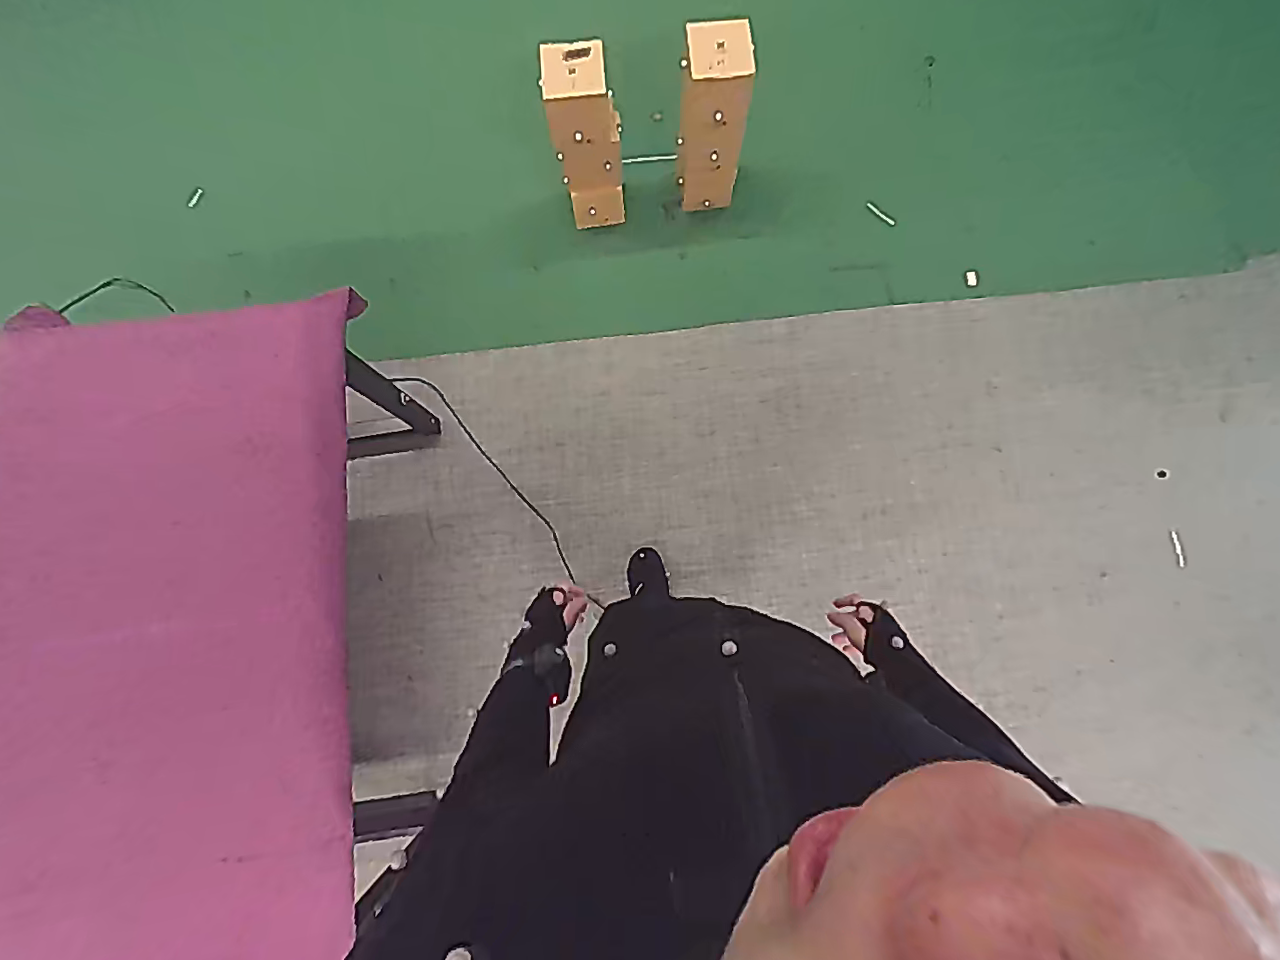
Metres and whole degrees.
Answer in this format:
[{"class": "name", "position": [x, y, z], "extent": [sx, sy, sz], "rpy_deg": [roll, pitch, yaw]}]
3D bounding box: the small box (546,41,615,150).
[{"class": "small box", "position": [-0.159, -1.042, 1.475], "extent": [0.168, 0.176, 0.179], "rpy_deg": [-5, 78, 1]}]

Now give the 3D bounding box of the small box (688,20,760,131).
[{"class": "small box", "position": [0.222, -1.095, 1.472], "extent": [0.168, 0.176, 0.179], "rpy_deg": [-4, 80, 1]}]

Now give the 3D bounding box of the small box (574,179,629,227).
[{"class": "small box", "position": [-0.131, -0.964, 1.791], "extent": [0.168, 0.176, 0.179], "rpy_deg": [-9, 78, 0]}]

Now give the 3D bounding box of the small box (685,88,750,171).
[{"class": "small box", "position": [0.228, -1.064, 1.634], "extent": [0.168, 0.176, 0.179], "rpy_deg": [-5, 81, -1]}]

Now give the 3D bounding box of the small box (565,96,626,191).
[{"class": "small box", "position": [-0.138, -1.010, 1.635], "extent": [0.179, 0.176, 0.168], "rpy_deg": [-9, 78, 0]}]
